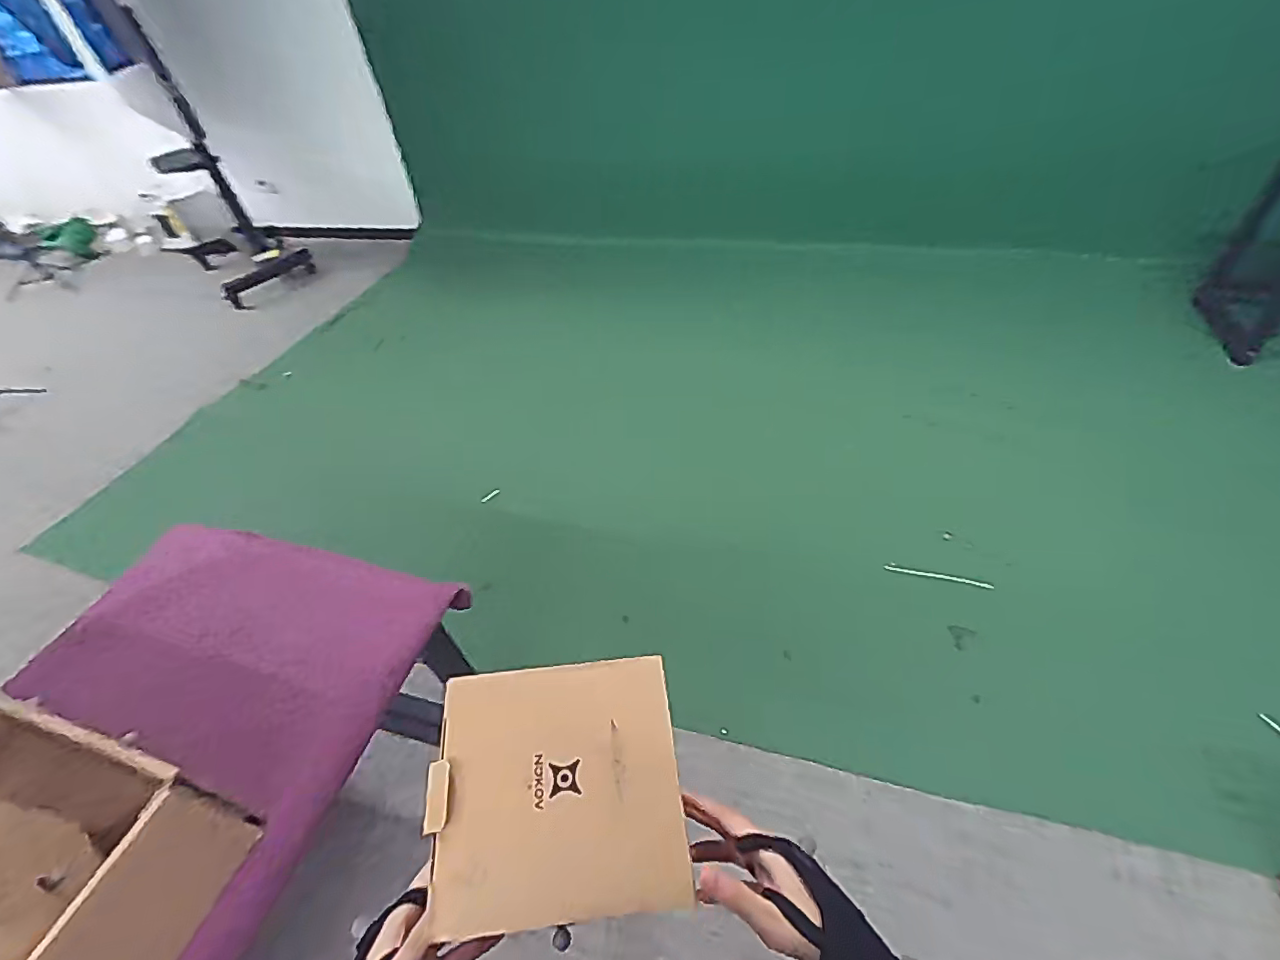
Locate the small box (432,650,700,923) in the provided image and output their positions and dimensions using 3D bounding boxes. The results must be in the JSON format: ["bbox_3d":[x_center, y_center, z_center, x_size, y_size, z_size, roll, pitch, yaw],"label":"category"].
[{"bbox_3d":[-0.054,0.259,0.456,0.179,0.176,0.168,-4,54,-5],"label":"small box"}]
